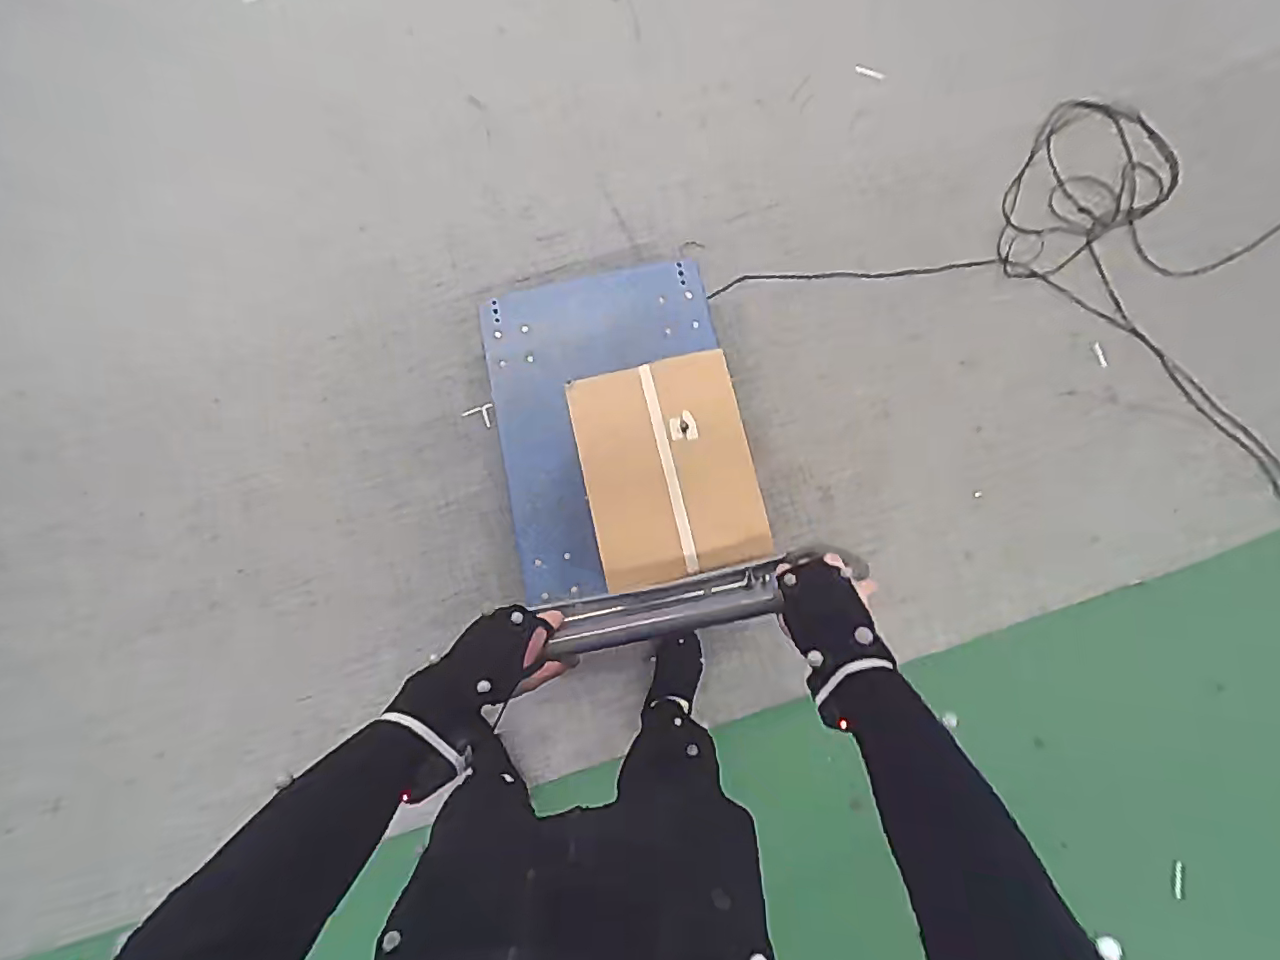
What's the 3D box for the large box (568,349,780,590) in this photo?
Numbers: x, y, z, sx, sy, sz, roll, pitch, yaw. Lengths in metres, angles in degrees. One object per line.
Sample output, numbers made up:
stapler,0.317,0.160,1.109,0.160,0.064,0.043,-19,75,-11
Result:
large box,0.062,-0.004,1.148,0.320,0.320,0.408,-13,81,-2
